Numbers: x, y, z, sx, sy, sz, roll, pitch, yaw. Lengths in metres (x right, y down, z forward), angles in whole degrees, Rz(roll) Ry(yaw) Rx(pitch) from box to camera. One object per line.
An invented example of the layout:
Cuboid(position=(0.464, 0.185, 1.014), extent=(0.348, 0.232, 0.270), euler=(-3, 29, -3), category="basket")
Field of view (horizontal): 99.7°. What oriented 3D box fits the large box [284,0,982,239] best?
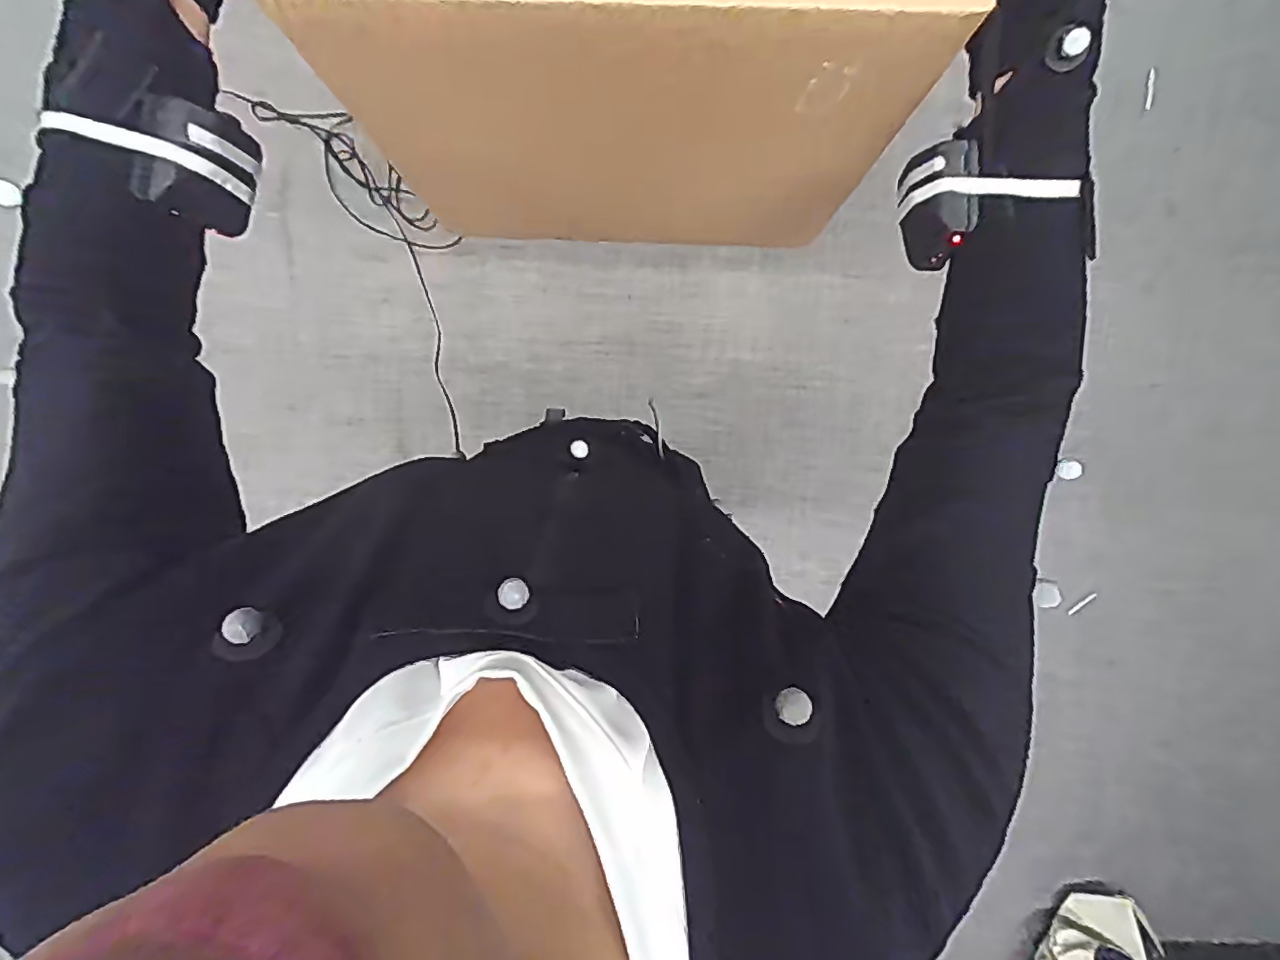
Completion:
Cuboid(position=(-0.006, -0.416, 0.446), extent=(0.408, 0.320, 0.320), euler=(2, 92, -1), category="large box")
